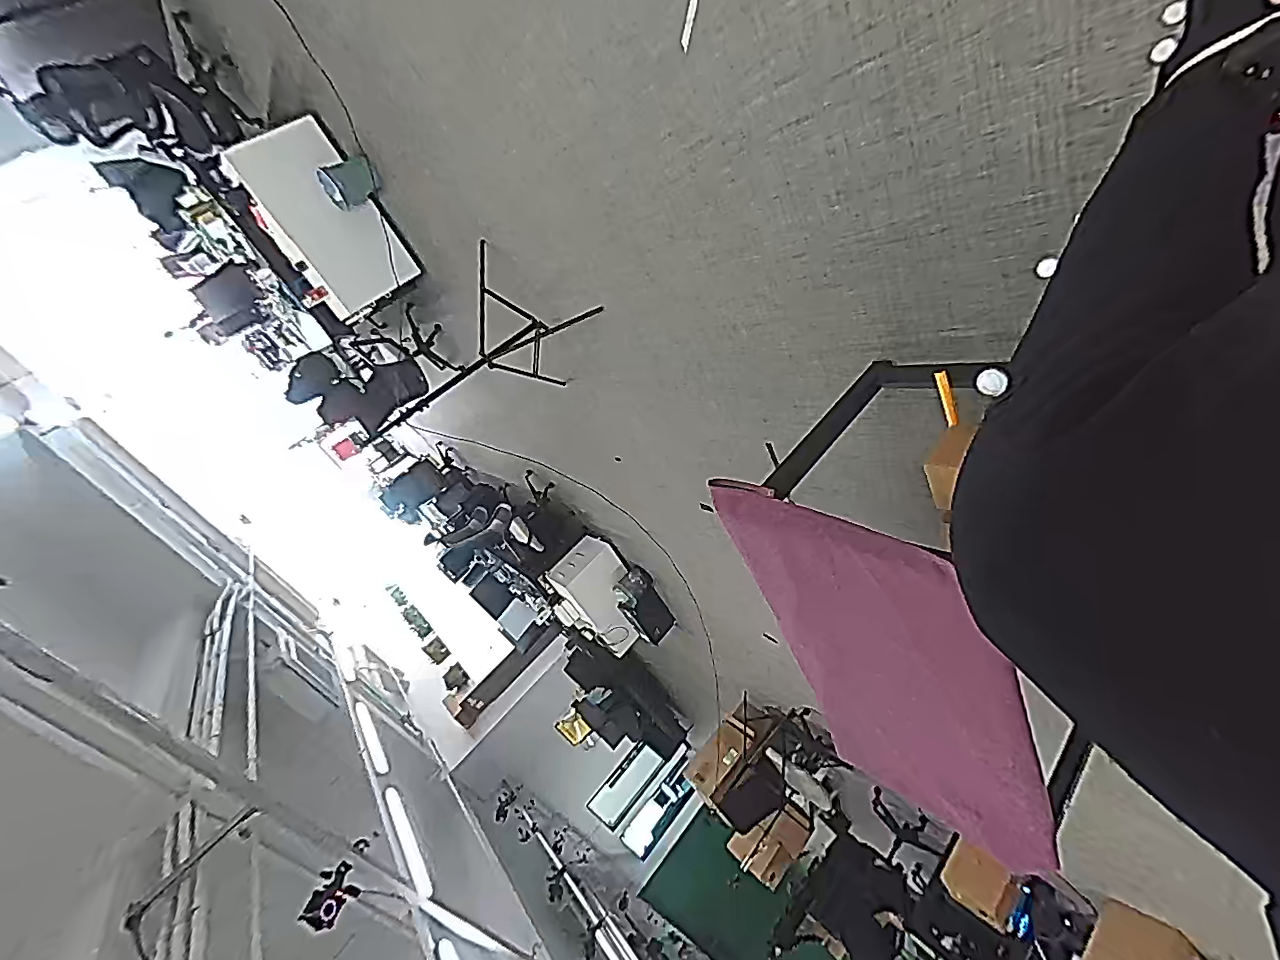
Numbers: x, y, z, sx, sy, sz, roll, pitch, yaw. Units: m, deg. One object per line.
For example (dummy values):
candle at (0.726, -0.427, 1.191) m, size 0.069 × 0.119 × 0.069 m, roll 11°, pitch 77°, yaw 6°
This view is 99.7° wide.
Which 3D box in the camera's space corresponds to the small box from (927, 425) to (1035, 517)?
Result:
small box at (0.886, -0.030, 1.404) m, size 0.179 × 0.176 × 0.168 m, roll 10°, pitch 140°, yaw 53°
